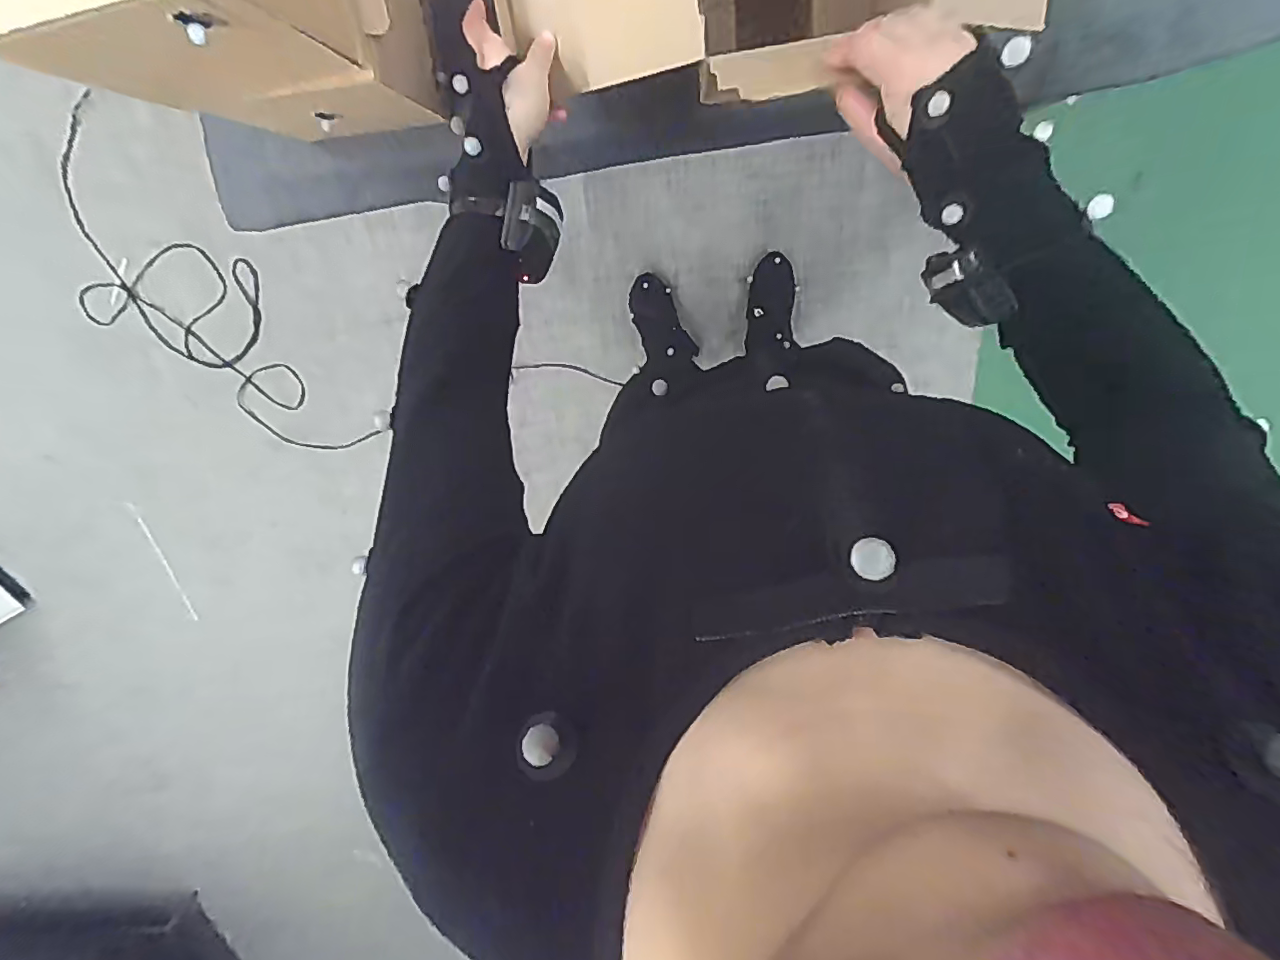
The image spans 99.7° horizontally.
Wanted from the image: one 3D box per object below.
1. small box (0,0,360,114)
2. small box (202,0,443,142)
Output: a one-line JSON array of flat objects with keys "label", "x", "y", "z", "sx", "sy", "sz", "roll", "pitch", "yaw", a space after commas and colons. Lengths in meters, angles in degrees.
[{"label": "small box", "x": -0.332, "y": -0.371, "z": 0.360, "sx": 0.179, "sy": 0.176, "sz": 0.168, "roll": -8, "pitch": 112, "yaw": 7}, {"label": "small box", "x": -0.306, "y": -0.434, "z": 0.509, "sx": 0.179, "sy": 0.176, "sz": 0.168, "roll": -4, "pitch": 113, "yaw": 6}]
